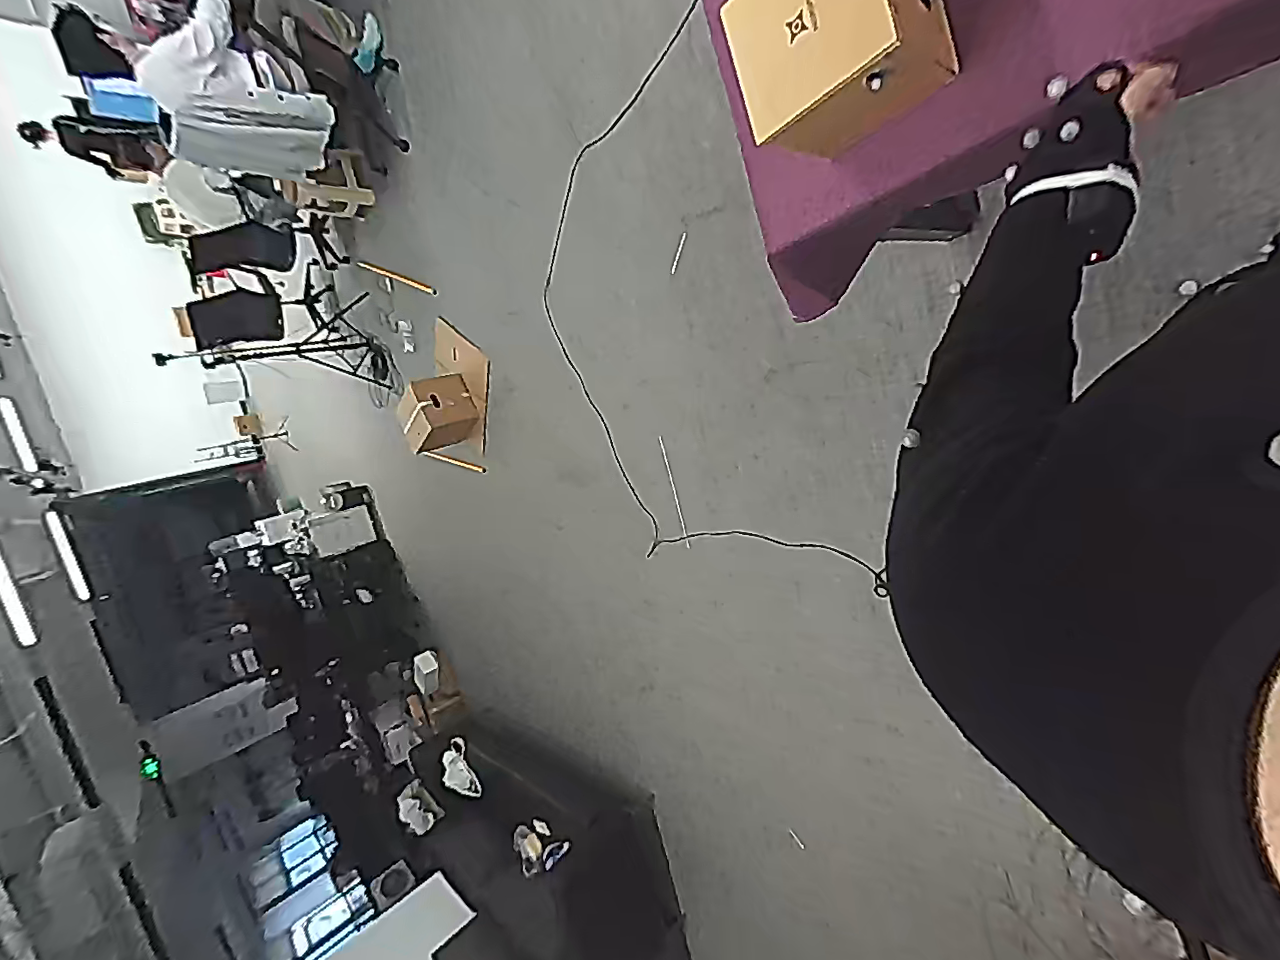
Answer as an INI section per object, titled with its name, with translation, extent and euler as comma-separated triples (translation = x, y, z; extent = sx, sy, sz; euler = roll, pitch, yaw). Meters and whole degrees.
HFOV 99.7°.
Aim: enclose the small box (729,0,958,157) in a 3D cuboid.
[small box]
translation = 0.240, -0.516, 0.640
extent = 0.179, 0.176, 0.168
euler = -12, 95, 50
